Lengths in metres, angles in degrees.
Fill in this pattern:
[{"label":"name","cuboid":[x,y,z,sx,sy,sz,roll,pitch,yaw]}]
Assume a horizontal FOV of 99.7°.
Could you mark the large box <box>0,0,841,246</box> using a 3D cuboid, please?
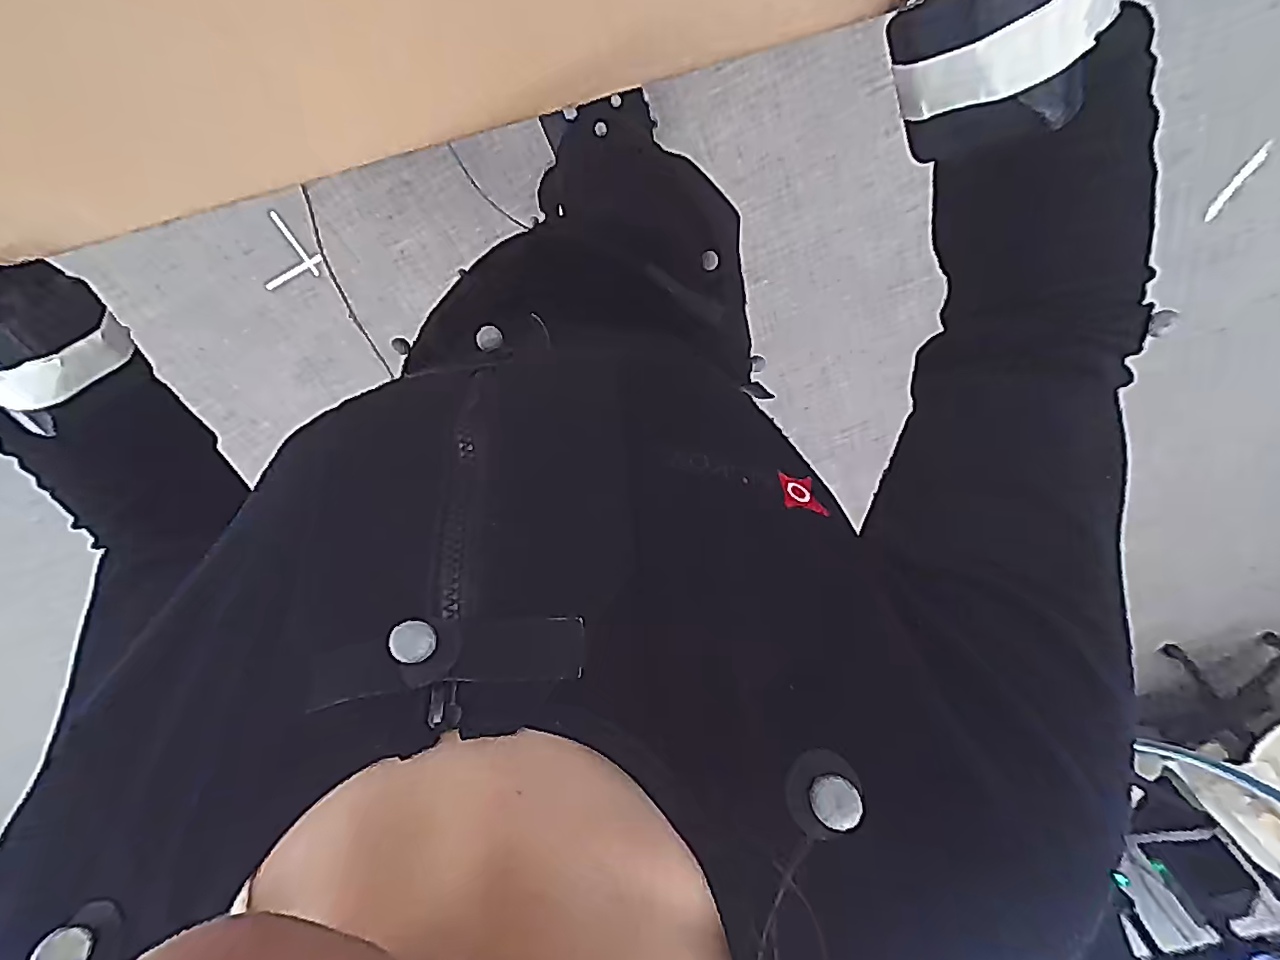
[{"label":"large box","cuboid":[-0.143,-0.356,0.200,0.408,0.320,0.320,-13,142,4]}]
